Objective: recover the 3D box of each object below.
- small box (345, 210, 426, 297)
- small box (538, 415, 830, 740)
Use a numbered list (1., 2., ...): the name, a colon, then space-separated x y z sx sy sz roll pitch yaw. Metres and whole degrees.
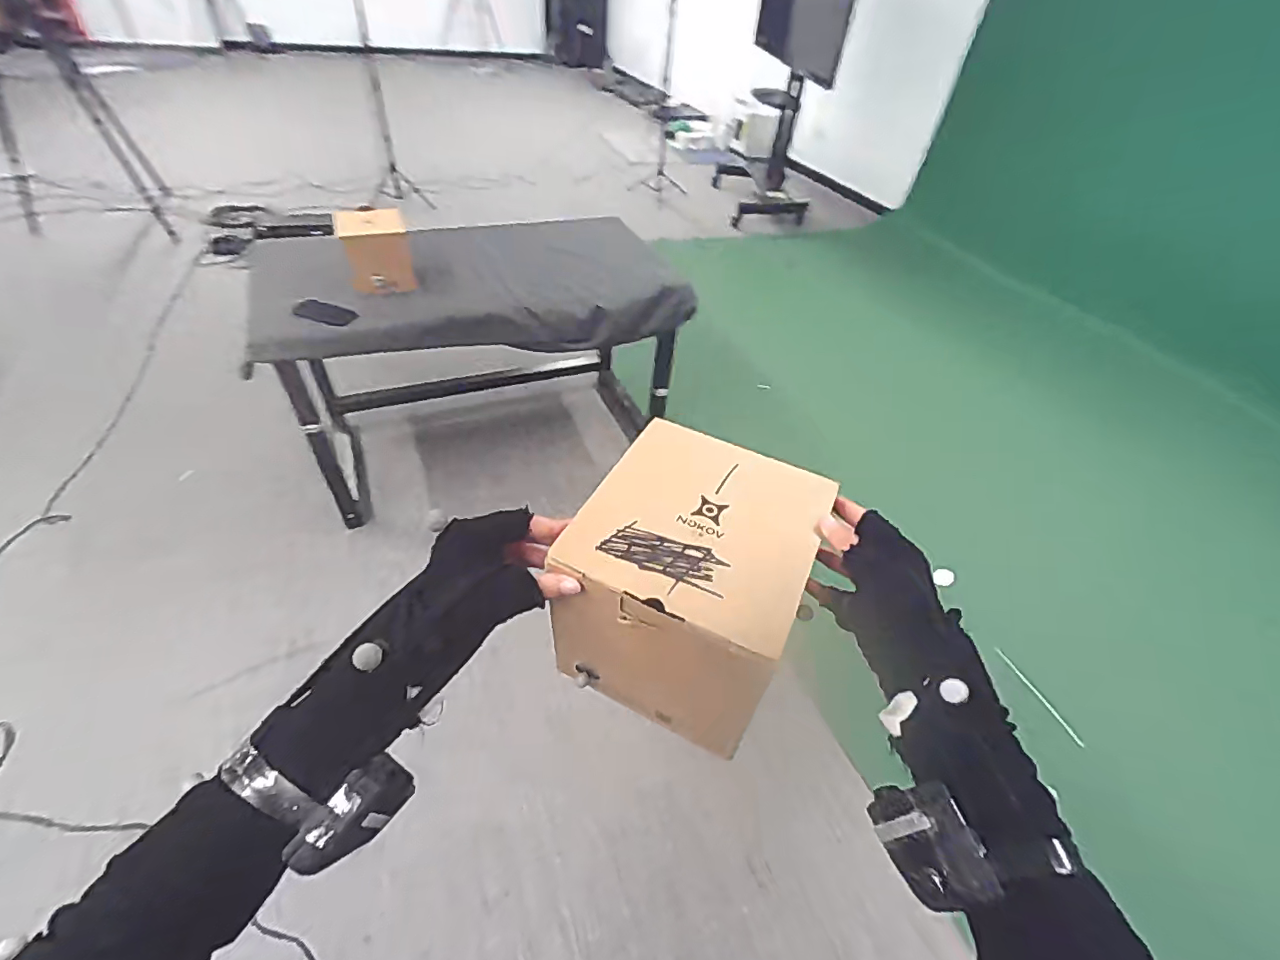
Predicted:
1. small box: -0.711 -0.635 1.515 0.168 0.176 0.179 -15 49 -19
2. small box: 0.037 0.080 0.452 0.168 0.176 0.179 22 47 16
